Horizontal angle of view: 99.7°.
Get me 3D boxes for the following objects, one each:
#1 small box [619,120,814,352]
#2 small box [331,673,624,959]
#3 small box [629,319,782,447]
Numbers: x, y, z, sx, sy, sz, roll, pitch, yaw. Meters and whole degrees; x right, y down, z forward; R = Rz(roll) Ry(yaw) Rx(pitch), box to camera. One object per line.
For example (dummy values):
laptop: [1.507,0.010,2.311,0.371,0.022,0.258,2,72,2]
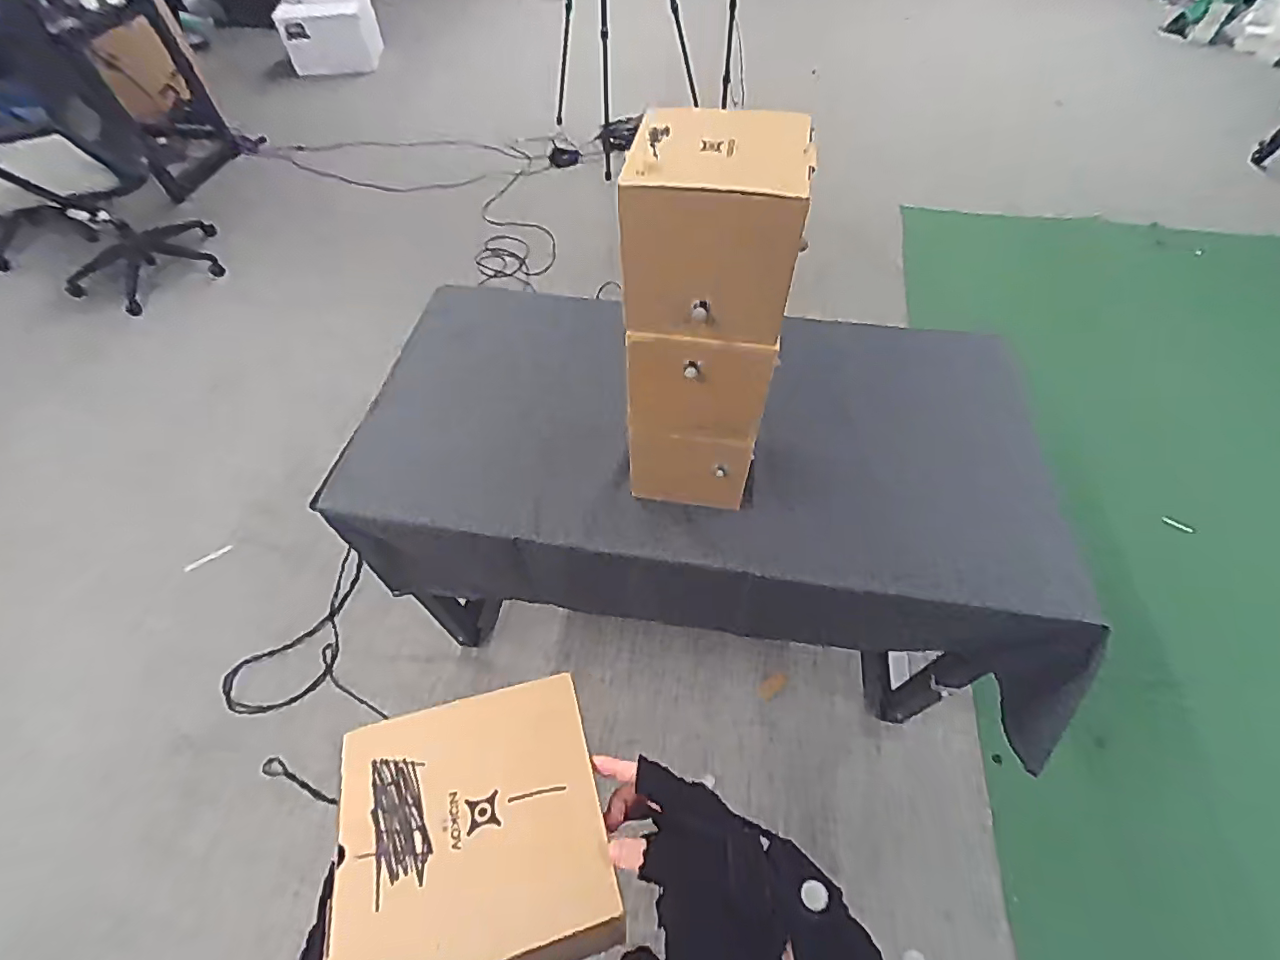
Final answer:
small box: [0.082,-0.263,0.597,0.179,0.176,0.168,9,55,7]
small box: [-0.115,0.287,0.430,0.179,0.176,0.168,-11,46,-13]
small box: [0.086,-0.162,0.726,0.179,0.176,0.168,7,54,6]
